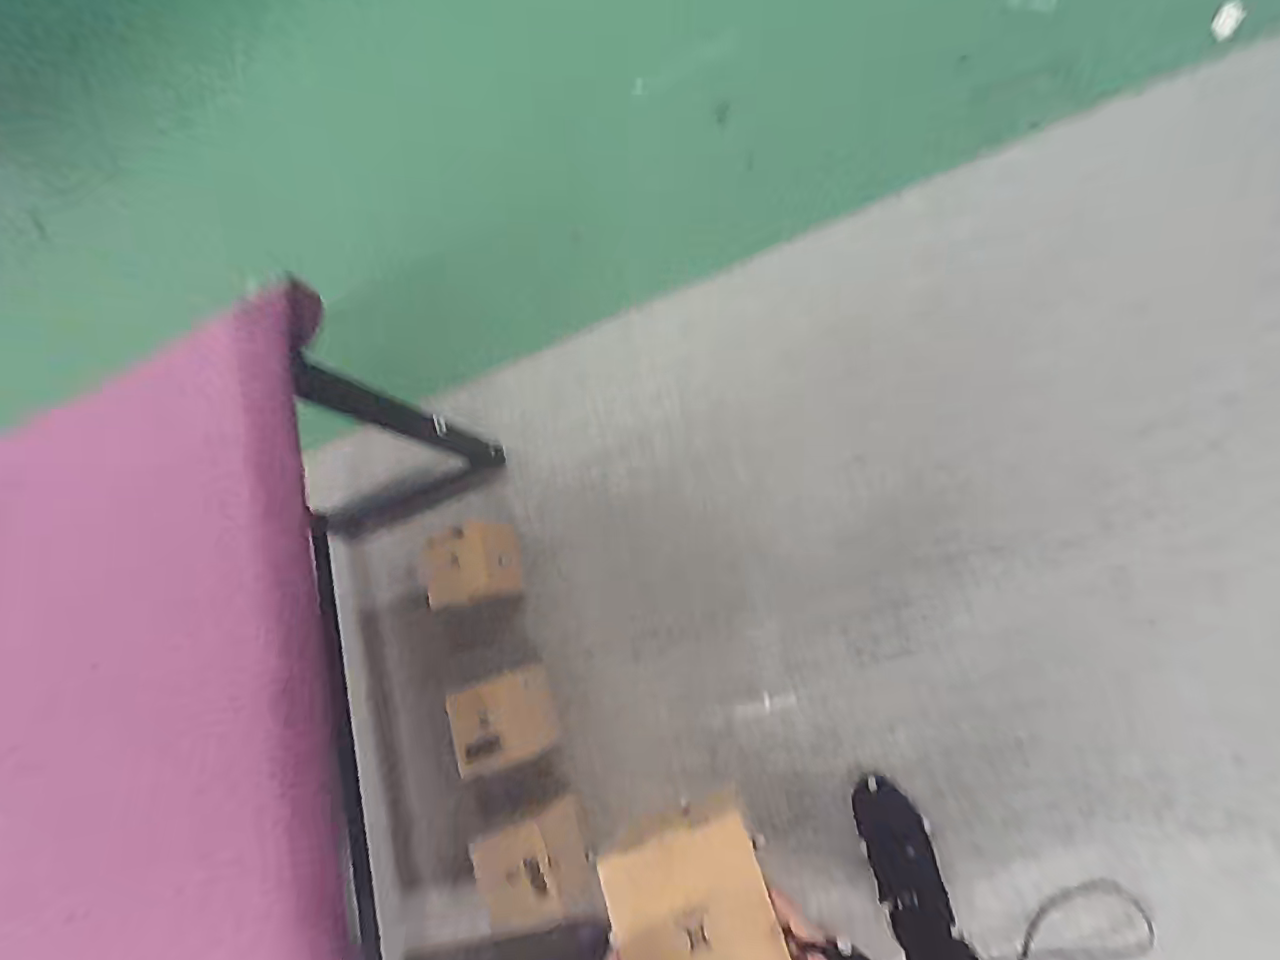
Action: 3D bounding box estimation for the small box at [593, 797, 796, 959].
[{"bbox_3d":[0.067,0.480,0.596,0.168,0.176,0.179,-21,65,1],"label":"small box"}]
